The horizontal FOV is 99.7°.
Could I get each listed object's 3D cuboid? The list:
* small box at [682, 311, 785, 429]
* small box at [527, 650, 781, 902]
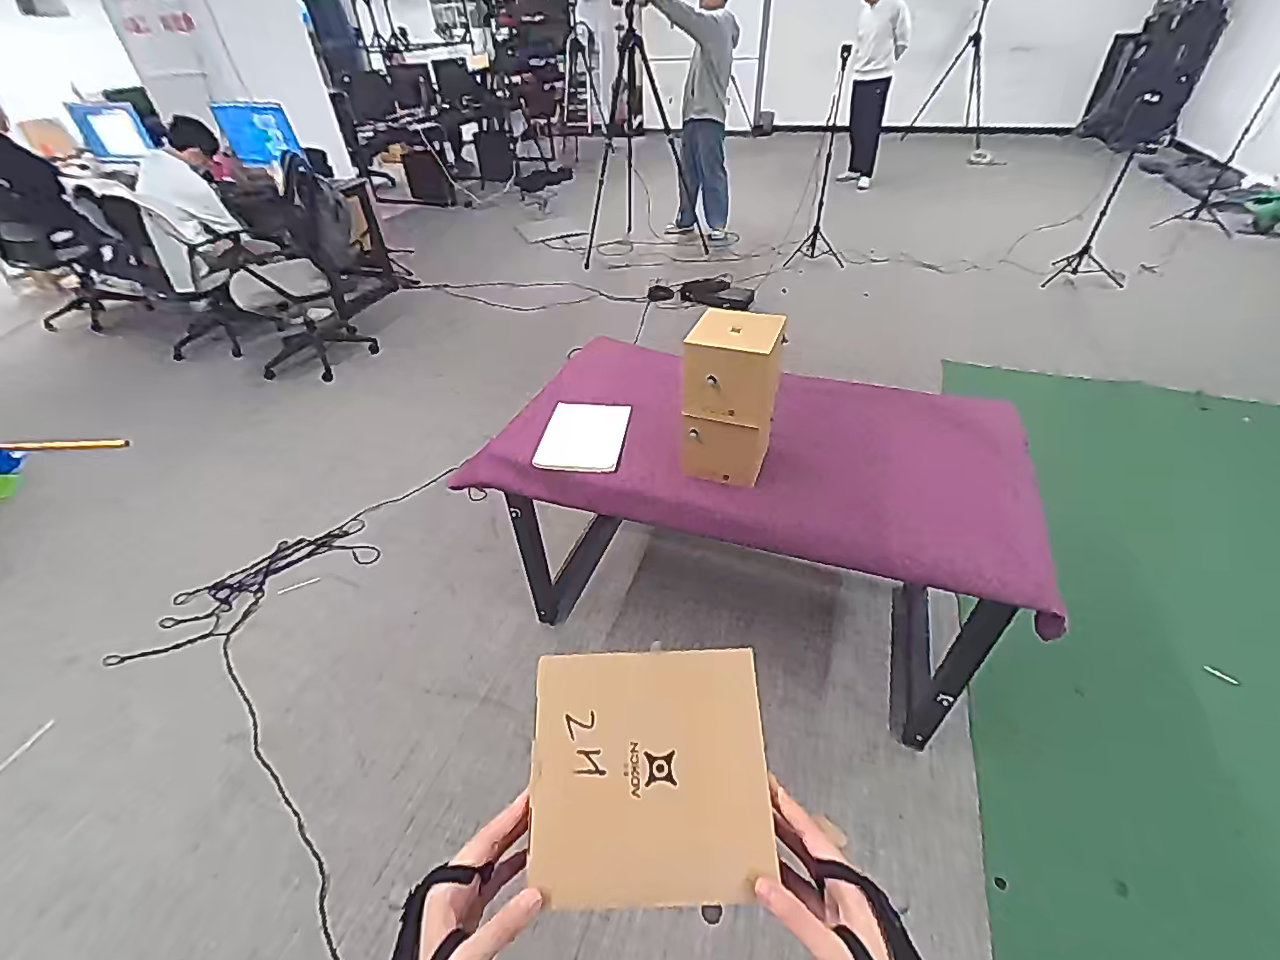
[{"bbox_3d":[0.189,-0.225,1.103,0.168,0.176,0.179,13,41,18],"label":"small box"},{"bbox_3d":[0.008,0.248,0.473,0.179,0.176,0.168,-2,61,0],"label":"small box"}]
